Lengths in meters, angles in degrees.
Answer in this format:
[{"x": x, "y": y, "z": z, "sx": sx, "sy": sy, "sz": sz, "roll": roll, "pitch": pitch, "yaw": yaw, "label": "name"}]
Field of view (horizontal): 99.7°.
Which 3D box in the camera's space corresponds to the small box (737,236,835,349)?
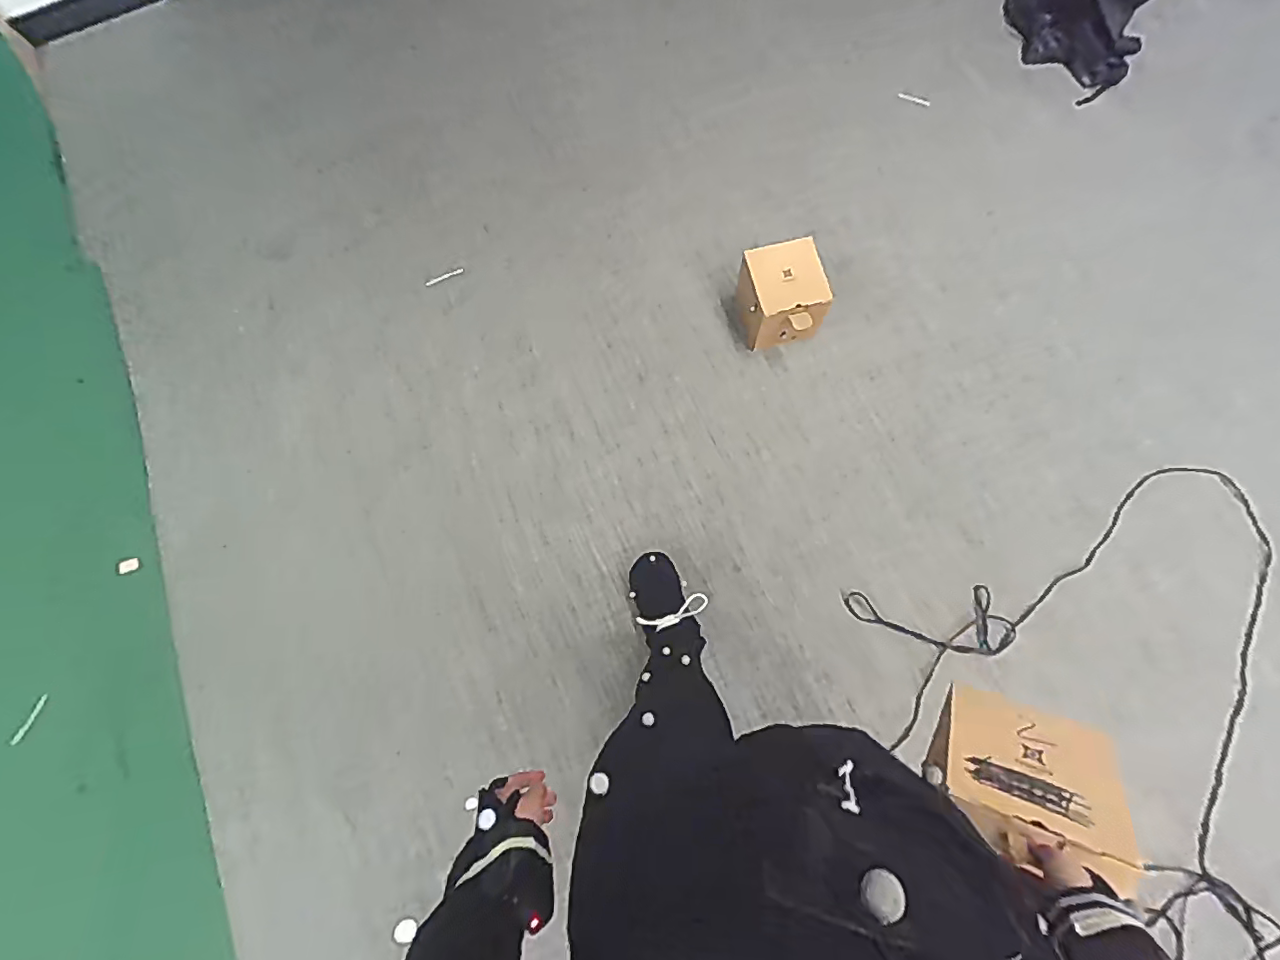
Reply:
[{"x": 0.340, "y": -0.444, "z": 1.299, "sx": 0.168, "sy": 0.176, "sz": 0.179, "roll": -13, "pitch": 75, "yaw": -1, "label": "small box"}]
